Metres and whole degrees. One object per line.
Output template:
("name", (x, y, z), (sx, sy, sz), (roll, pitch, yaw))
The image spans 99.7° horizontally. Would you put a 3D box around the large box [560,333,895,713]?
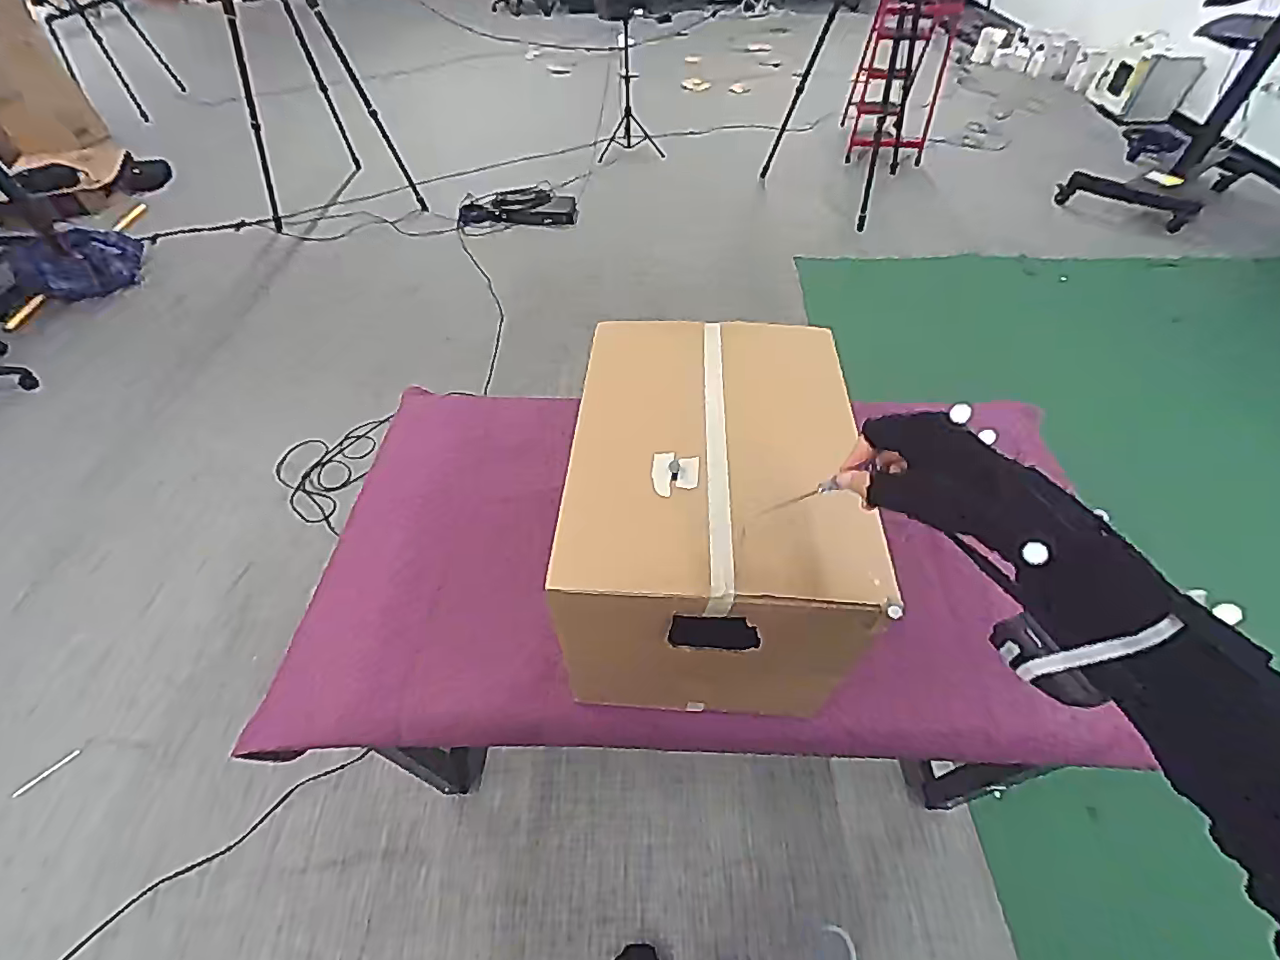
("large box", (0.086, 0.054, 0.728), (0.320, 0.320, 0.408), (3, 51, 3))
